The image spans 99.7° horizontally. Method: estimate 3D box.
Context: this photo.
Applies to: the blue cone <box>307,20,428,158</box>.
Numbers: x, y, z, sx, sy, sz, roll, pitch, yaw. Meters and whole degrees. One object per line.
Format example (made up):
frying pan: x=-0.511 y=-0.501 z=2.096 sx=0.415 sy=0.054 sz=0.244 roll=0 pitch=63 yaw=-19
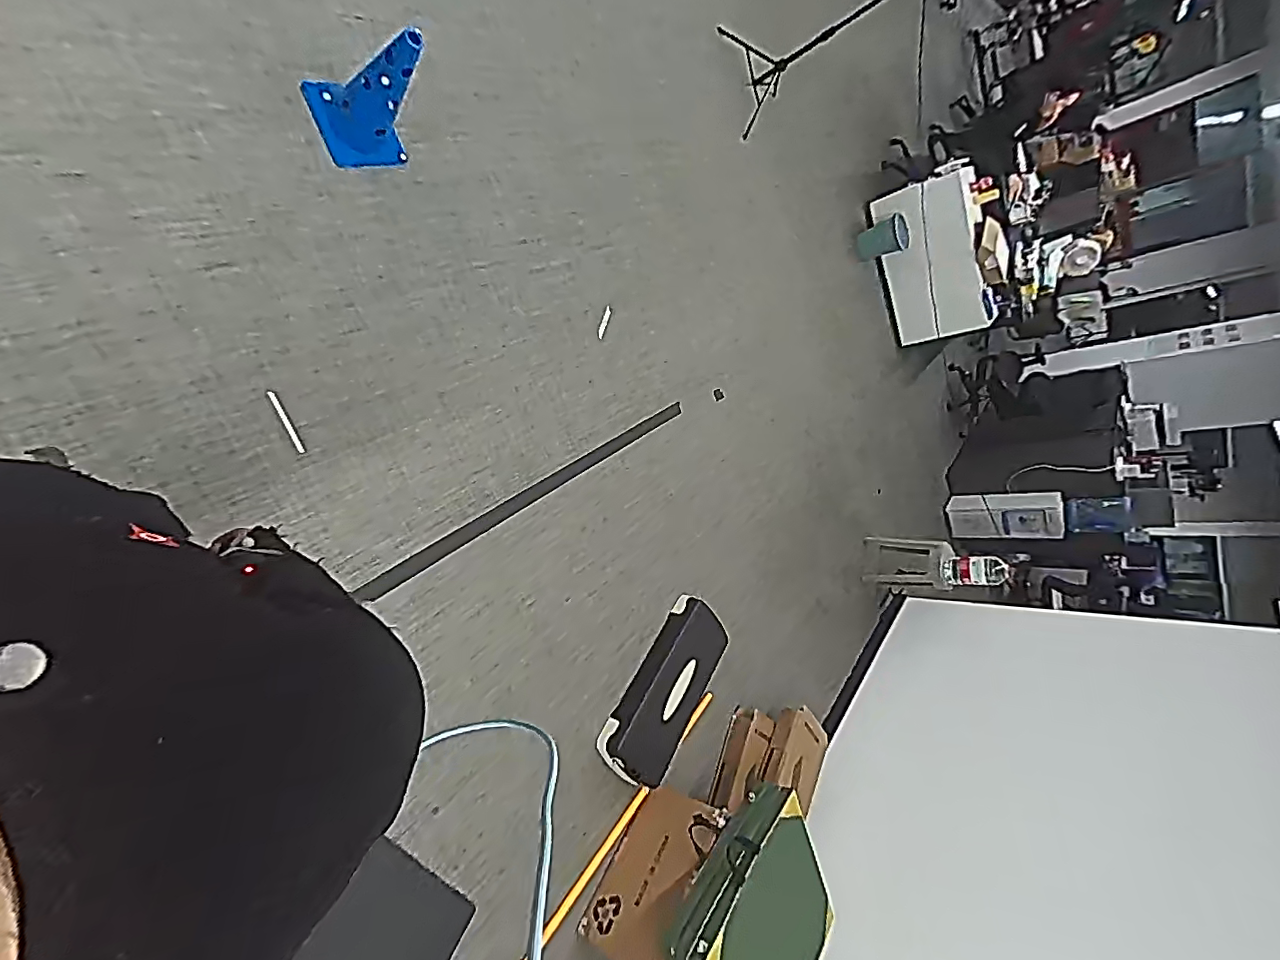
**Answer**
blue cone: x=-0.603 y=-0.930 z=1.258 sx=0.192 sy=0.380 sz=0.193 roll=-34 pitch=110 yaw=-43
